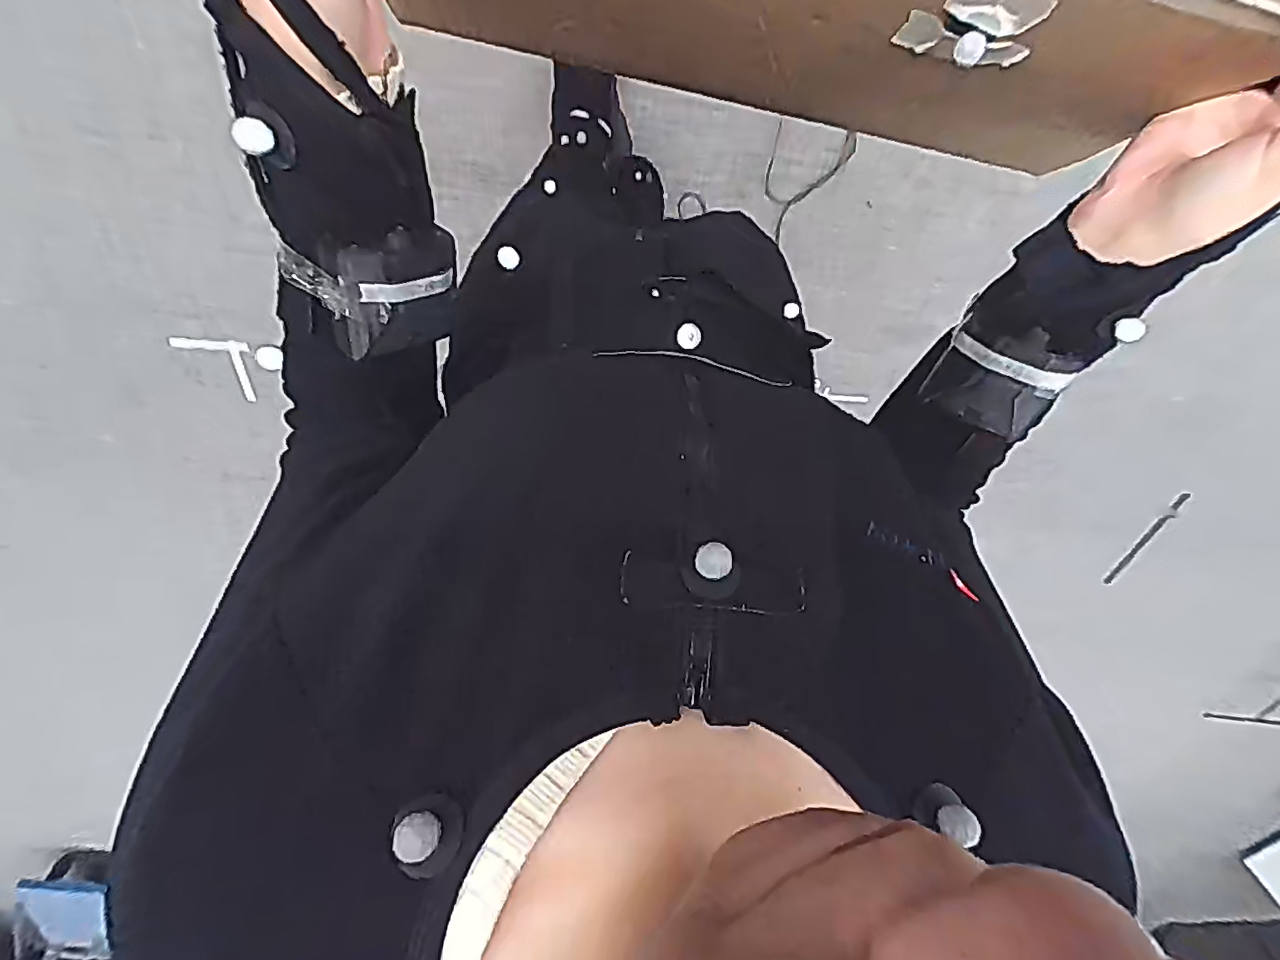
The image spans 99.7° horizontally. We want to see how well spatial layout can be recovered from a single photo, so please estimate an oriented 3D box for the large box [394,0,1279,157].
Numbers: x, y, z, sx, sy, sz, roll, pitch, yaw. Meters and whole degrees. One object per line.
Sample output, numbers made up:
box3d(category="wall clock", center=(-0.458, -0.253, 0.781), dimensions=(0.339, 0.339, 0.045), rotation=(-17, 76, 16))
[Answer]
box3d(category="large box", center=(0.099, -0.351, 0.154), dimensions=(0.408, 0.320, 0.320), rotation=(6, 101, -8))
